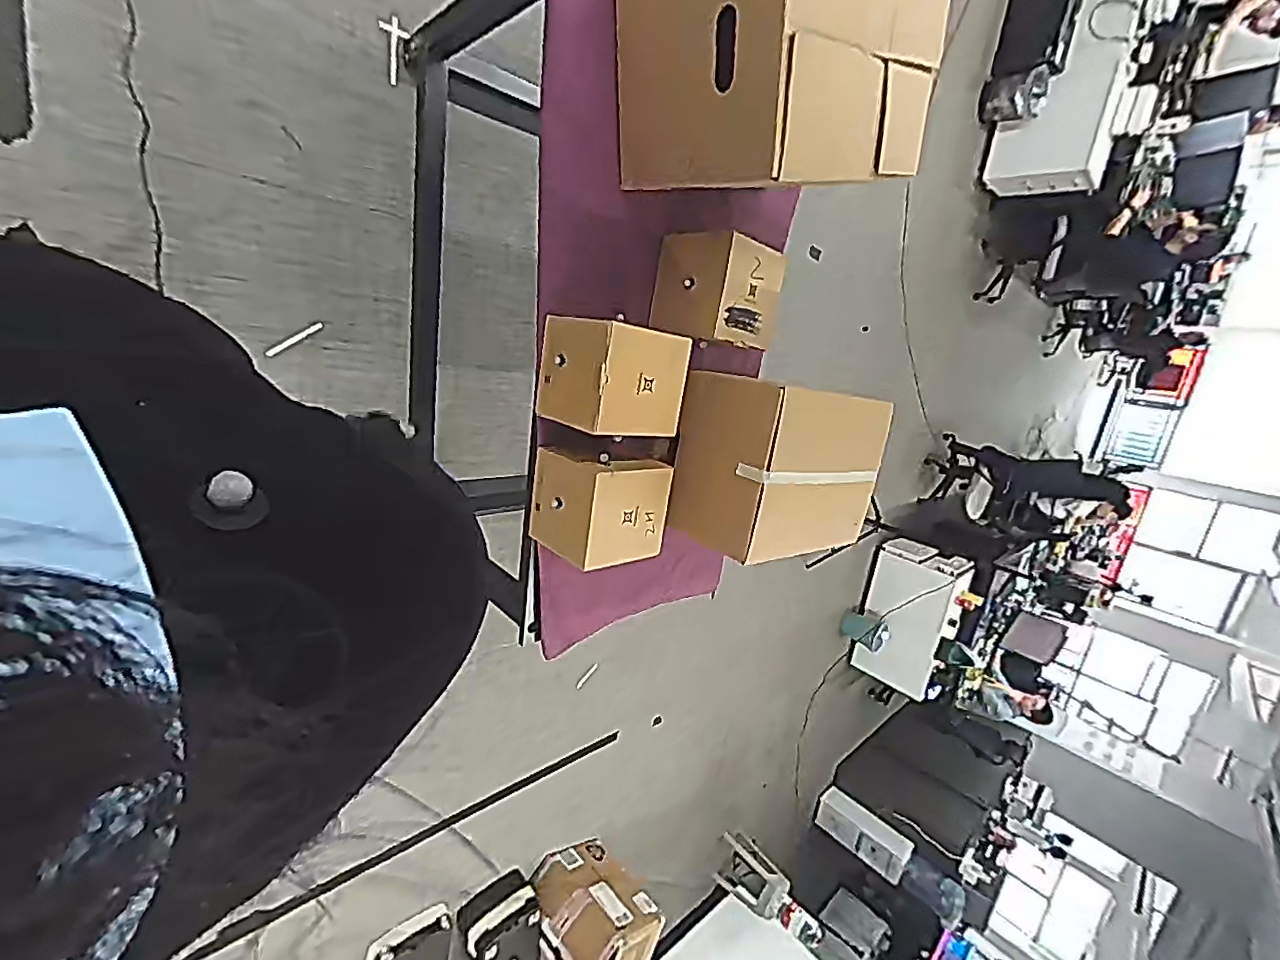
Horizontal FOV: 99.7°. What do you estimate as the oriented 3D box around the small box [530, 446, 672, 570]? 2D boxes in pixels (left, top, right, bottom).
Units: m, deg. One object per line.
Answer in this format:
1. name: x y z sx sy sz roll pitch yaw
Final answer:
1. small box: -0.073 0.040 0.945 0.179 0.176 0.168 -4 109 -45
